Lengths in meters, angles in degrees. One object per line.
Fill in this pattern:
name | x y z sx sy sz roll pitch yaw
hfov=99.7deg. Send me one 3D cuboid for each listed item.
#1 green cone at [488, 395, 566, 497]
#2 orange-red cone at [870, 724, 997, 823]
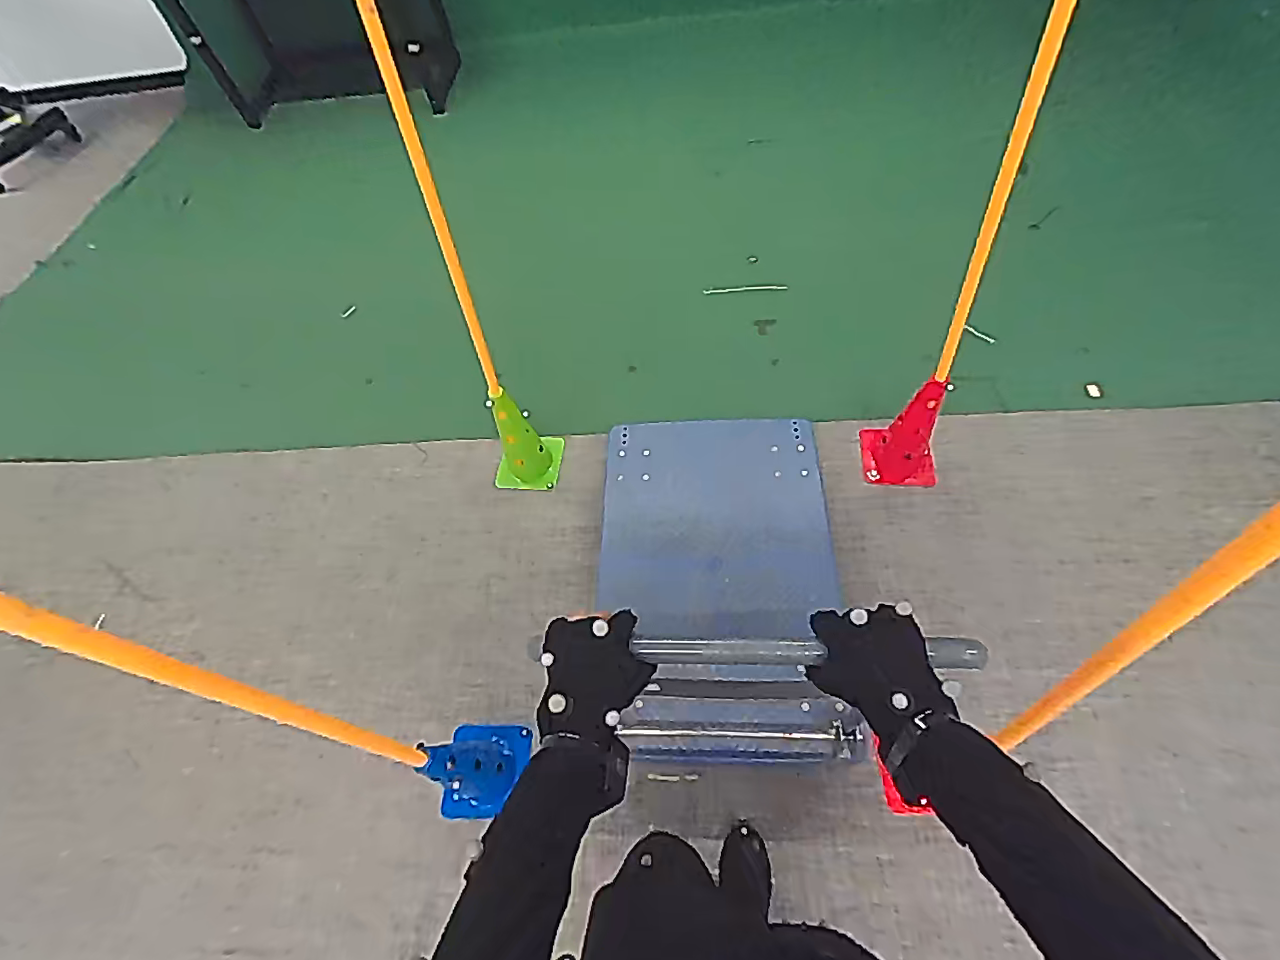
green cone | -0.369 -0.125 1.618 0.202 0.368 0.200 1 58 9
orange-red cone | 0.616 0.567 1.076 0.199 0.360 0.198 -3 57 7
